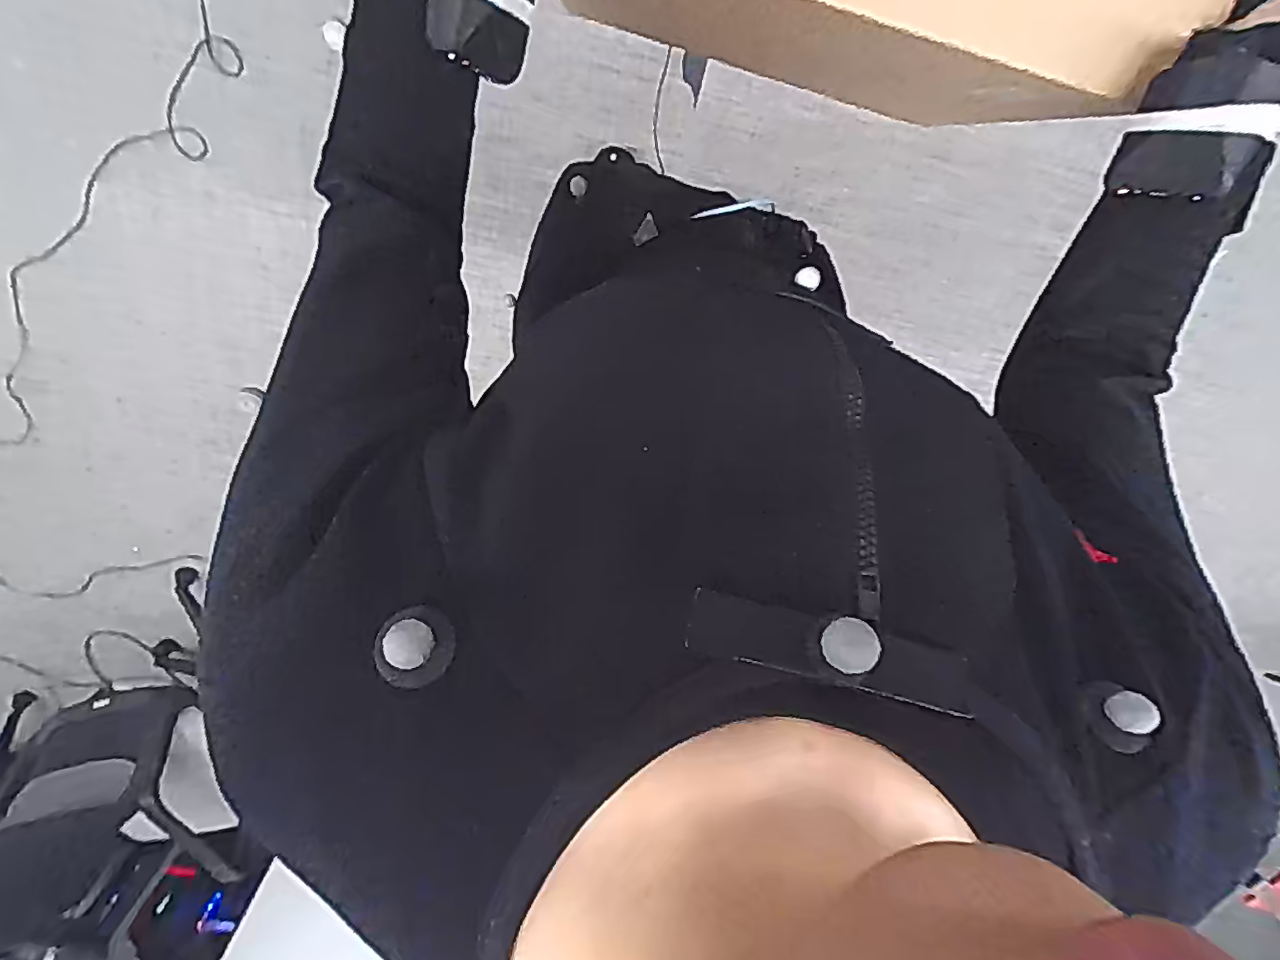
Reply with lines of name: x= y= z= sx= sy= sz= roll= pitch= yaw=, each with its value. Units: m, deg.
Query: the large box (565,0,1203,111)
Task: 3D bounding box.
large box: x=0.154 y=-0.480 z=0.359 sx=0.408 sy=0.320 sz=0.320 roll=11 pitch=123 yaw=-9
